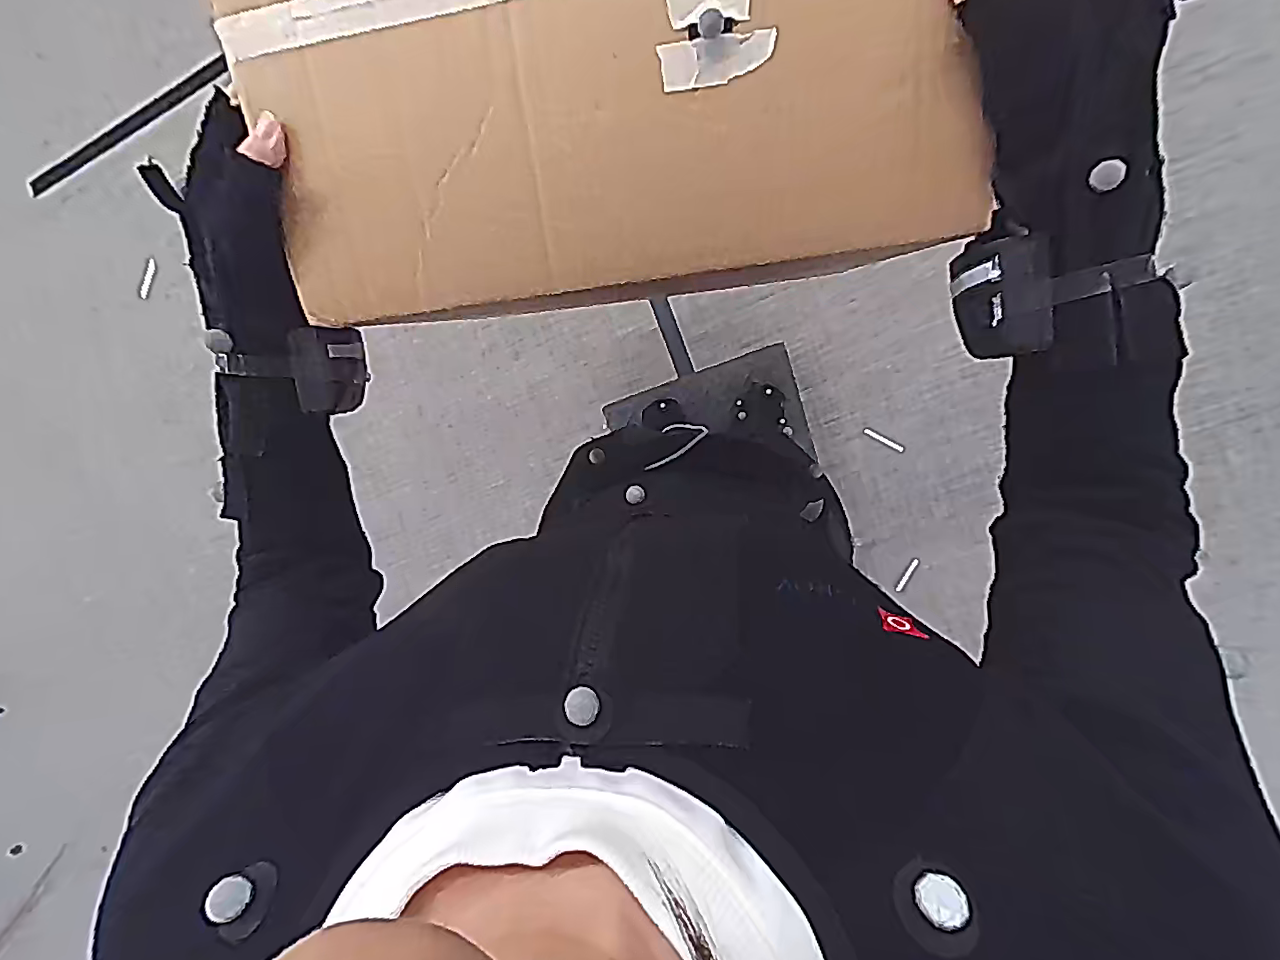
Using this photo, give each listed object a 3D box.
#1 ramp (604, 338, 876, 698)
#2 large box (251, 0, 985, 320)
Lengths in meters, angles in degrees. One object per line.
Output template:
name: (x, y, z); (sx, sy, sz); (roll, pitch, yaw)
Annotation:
ramp: (0.305, 0.163, 1.512); (0.509, 0.206, 0.991); (-20, 96, 10)
large box: (-0.011, -0.316, 0.429); (0.408, 0.320, 0.320); (-5, 108, 8)
